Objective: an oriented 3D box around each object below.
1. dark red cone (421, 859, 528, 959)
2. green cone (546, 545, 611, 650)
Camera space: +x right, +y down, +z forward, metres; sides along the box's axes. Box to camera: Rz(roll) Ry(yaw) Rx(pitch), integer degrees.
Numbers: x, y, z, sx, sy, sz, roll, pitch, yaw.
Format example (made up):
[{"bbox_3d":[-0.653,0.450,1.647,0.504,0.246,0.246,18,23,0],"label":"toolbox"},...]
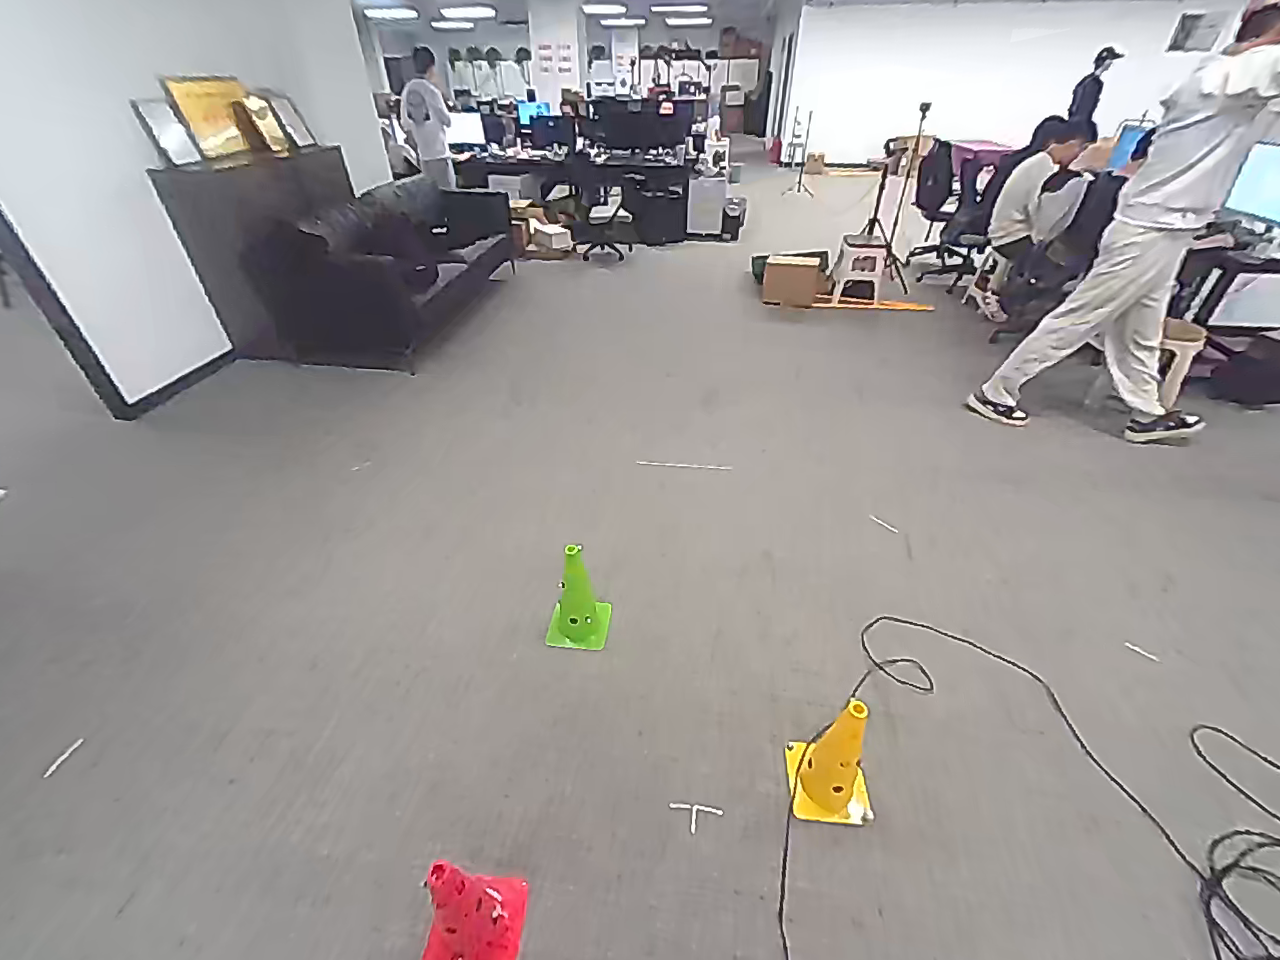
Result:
[{"bbox_3d":[-0.355,0.838,1.070,0.202,0.394,0.201,1,38,2],"label":"dark red cone"},{"bbox_3d":[-0.206,0.357,1.751,0.202,0.368,0.200,4,38,5],"label":"green cone"}]
